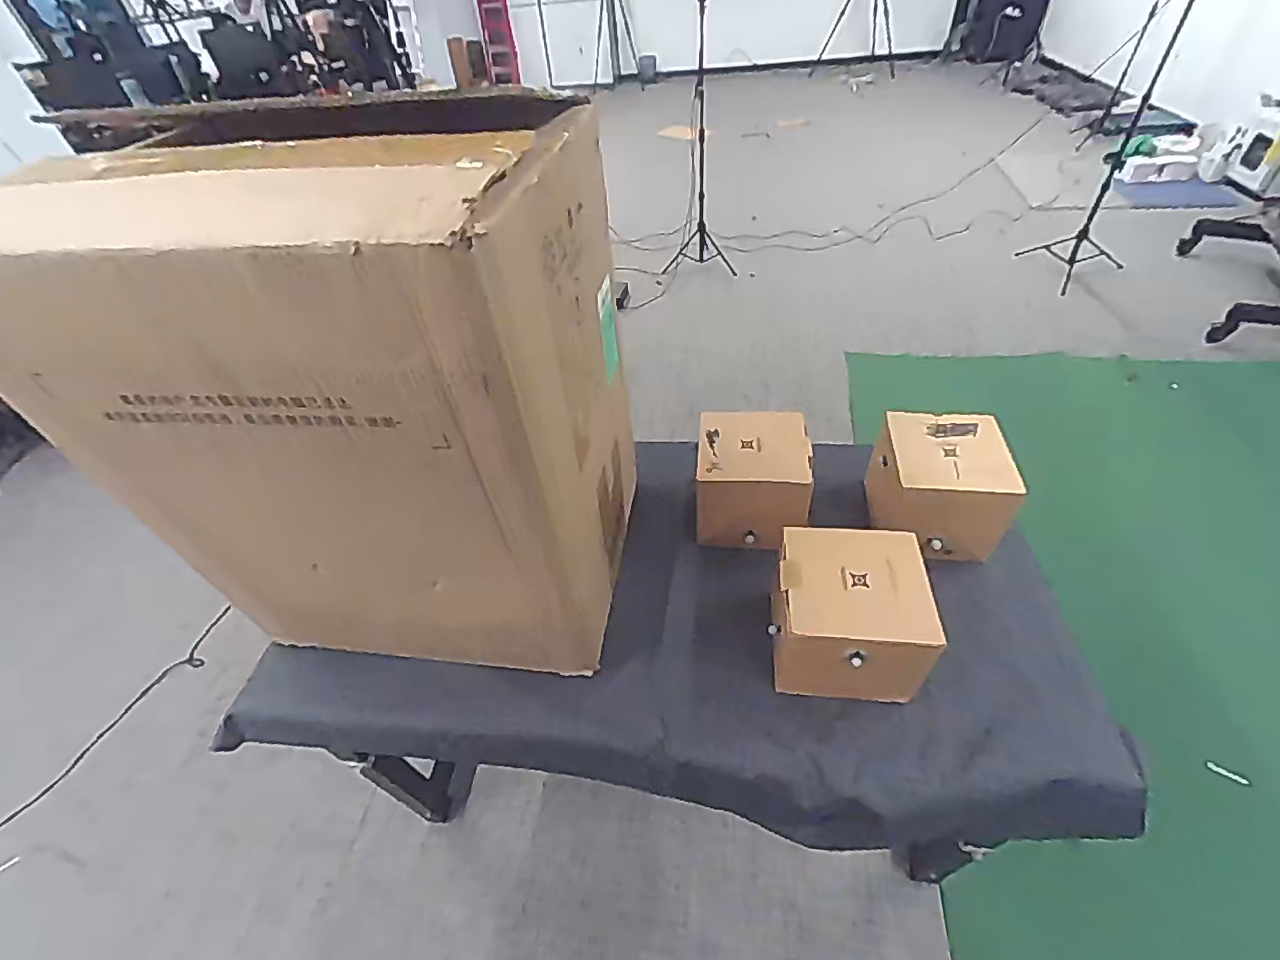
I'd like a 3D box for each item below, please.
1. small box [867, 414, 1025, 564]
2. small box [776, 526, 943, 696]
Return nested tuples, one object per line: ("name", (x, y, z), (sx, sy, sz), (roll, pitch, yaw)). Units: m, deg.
("small box", (0.483, 0.013, 0.889), (0.168, 0.176, 0.179), (3, 47, 10))
("small box", (0.282, 0.182, 0.746), (0.179, 0.176, 0.168), (2, 47, 8))
